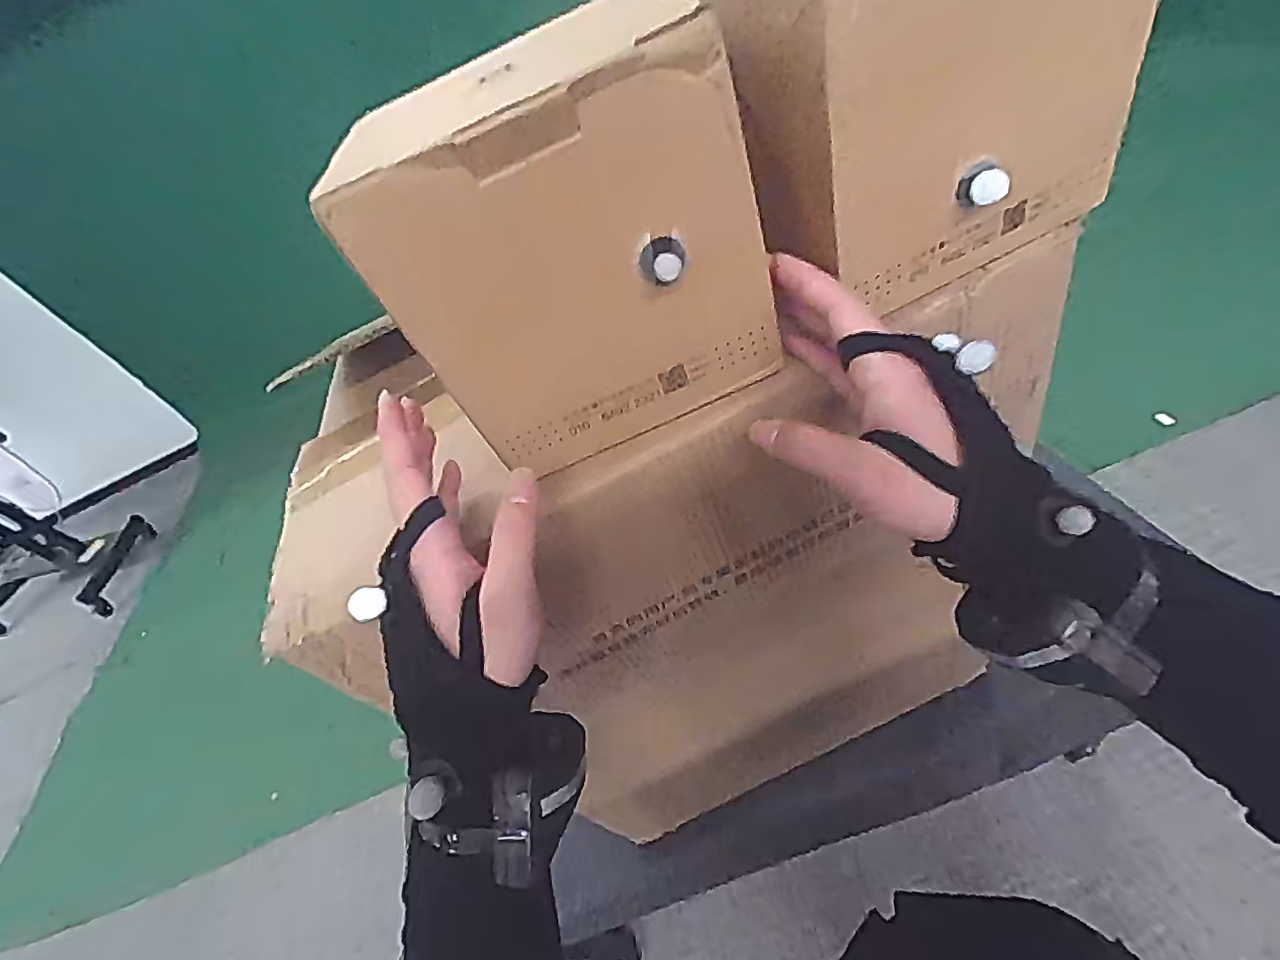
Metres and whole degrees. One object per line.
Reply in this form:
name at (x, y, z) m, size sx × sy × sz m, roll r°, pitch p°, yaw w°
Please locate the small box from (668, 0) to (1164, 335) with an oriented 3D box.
small box at (0.137, -0.213, 0.310) m, size 0.168 × 0.176 × 0.179 m, roll -27°, pitch 44°, yaw 0°
